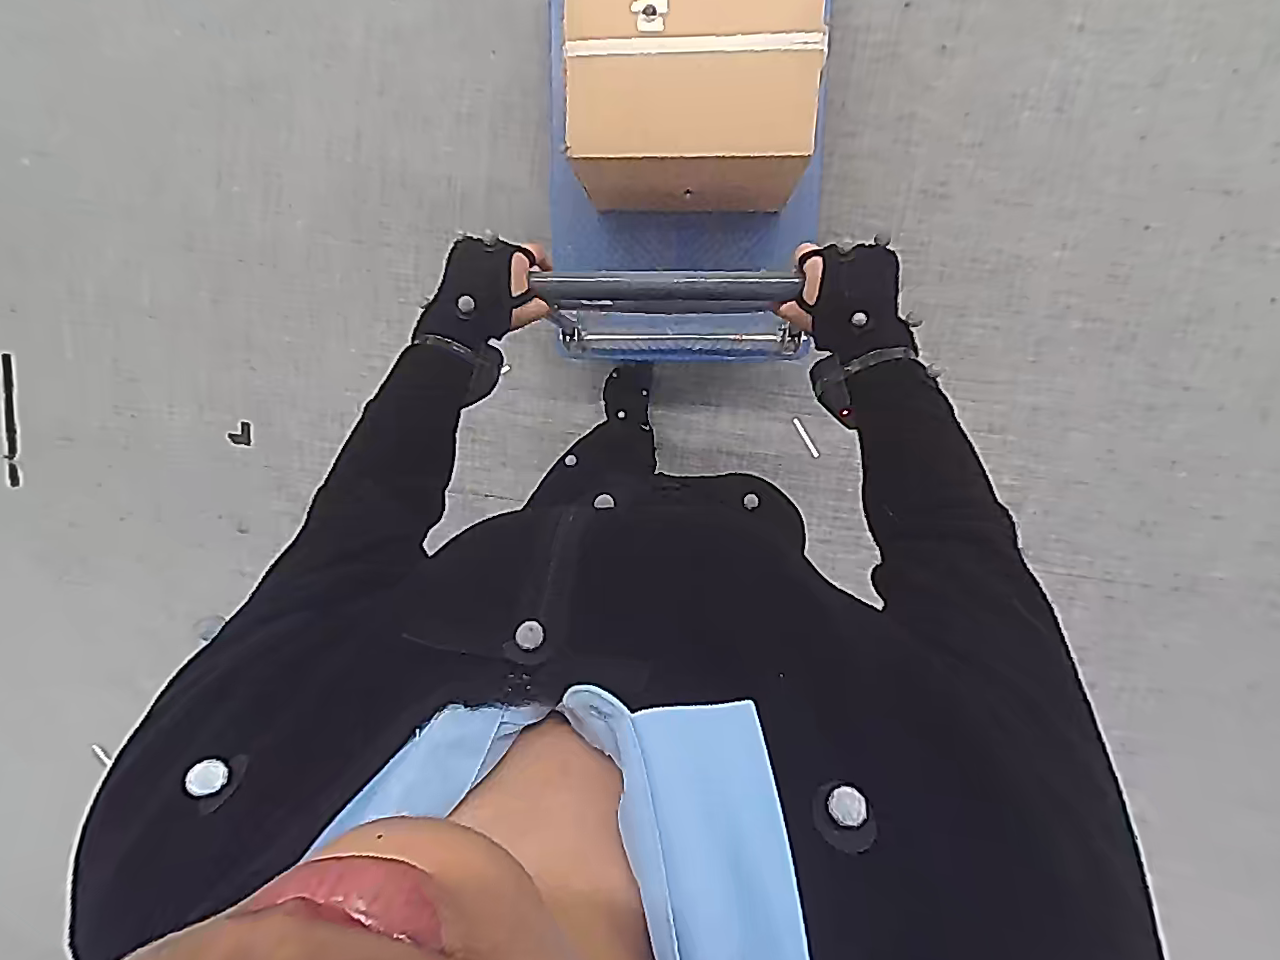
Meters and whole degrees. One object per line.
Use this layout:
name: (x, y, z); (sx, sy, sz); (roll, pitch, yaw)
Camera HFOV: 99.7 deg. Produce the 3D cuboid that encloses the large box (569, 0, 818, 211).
large box: (0.097, -0.715, 1.019); (0.408, 0.320, 0.320); (2, 100, 6)
